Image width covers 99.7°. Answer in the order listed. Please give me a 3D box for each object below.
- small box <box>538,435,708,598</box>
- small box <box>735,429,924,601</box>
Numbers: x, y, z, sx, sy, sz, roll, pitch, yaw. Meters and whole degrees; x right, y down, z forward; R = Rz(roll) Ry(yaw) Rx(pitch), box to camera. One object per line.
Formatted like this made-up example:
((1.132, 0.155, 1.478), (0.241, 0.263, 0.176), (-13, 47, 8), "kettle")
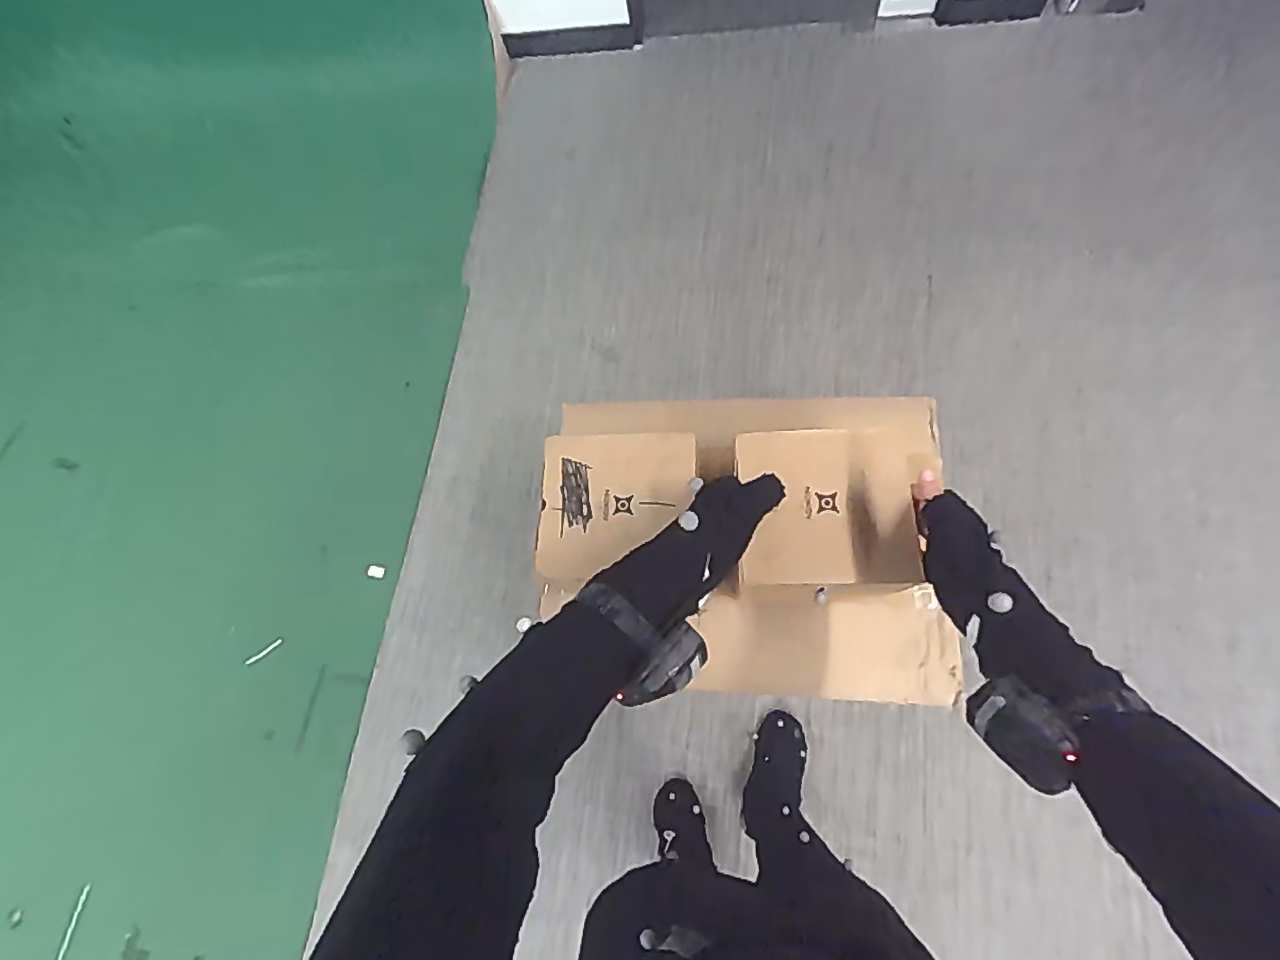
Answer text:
((-0.009, 0.053, 0.665), (0.179, 0.176, 0.168), (0, 72, 9), "small box")
((0.202, 0.051, 0.633), (0.179, 0.176, 0.168), (-2, 72, 7), "small box")
